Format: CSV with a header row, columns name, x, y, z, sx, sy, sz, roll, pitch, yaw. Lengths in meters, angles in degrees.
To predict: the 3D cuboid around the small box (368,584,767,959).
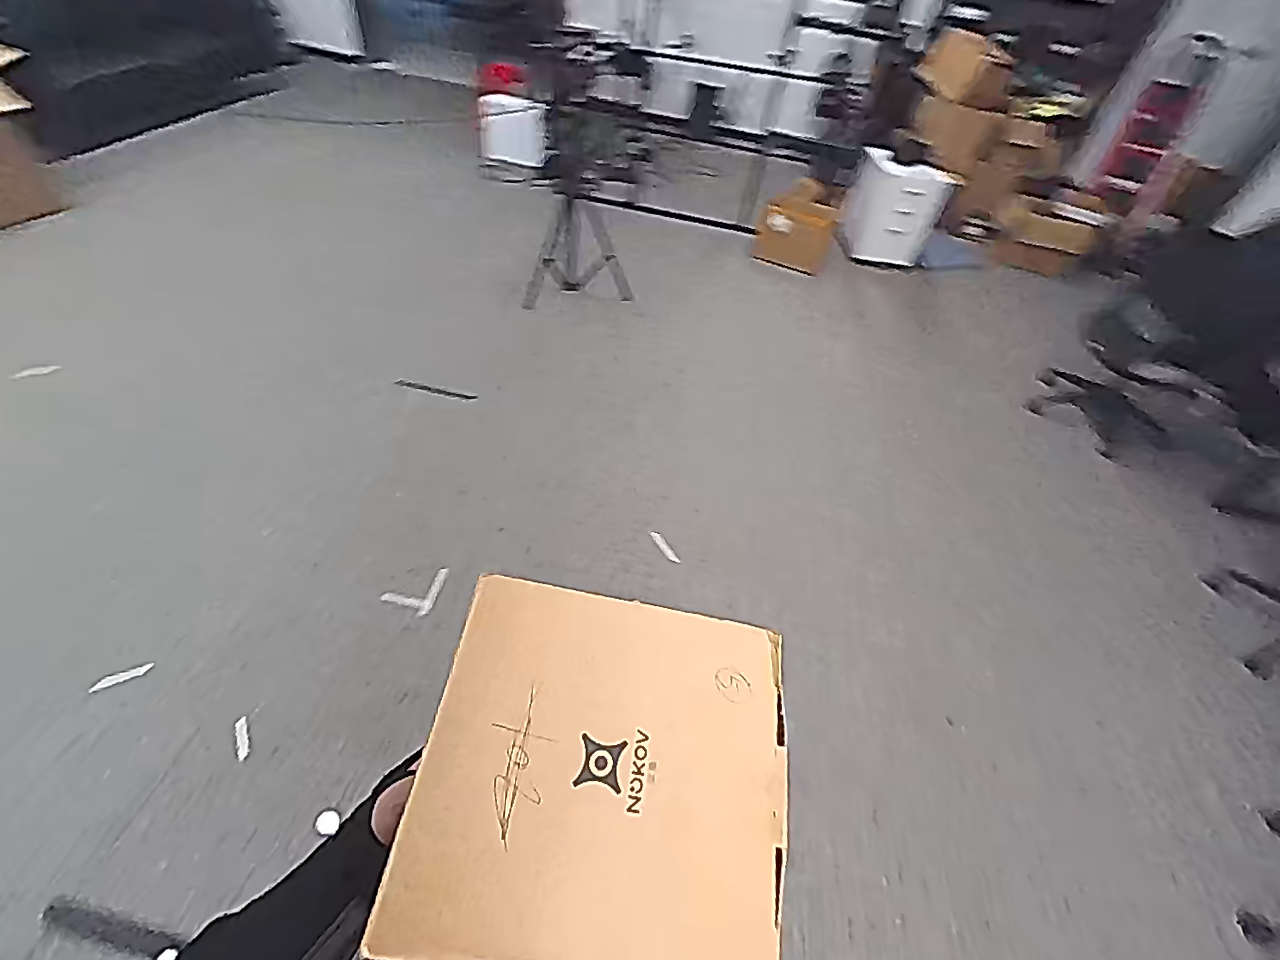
name,x,y,z,sx,sy,sz,roll,pitch,yaw
small box,-0.032,0.183,0.341,0.179,0.176,0.168,10,58,-4
